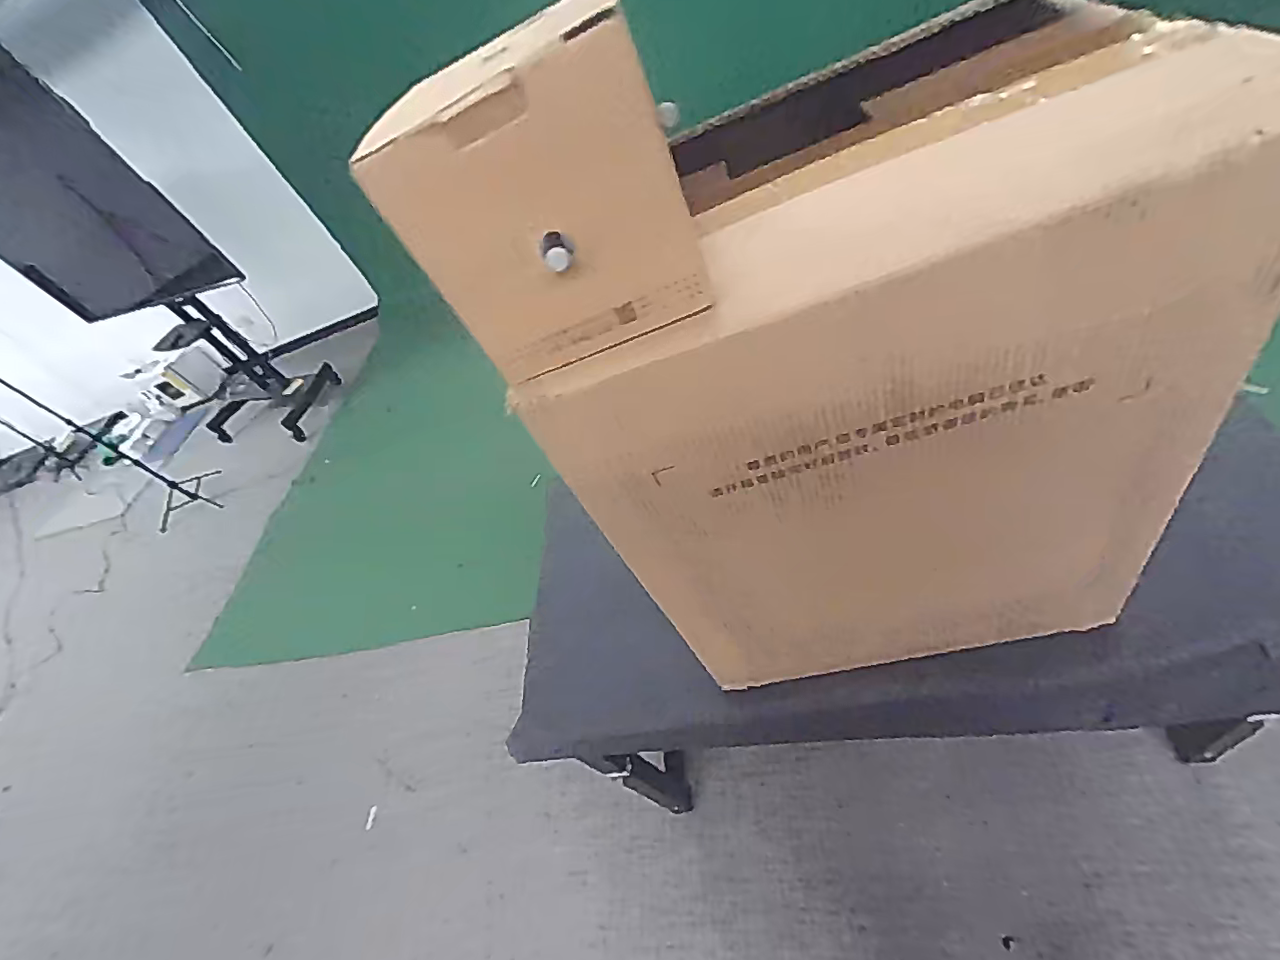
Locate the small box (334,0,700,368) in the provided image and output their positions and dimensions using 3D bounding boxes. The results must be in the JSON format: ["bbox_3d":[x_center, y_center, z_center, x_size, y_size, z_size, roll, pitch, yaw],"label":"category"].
[{"bbox_3d":[-0.066,-0.202,0.383,0.168,0.176,0.179,-19,47,15],"label":"small box"}]
